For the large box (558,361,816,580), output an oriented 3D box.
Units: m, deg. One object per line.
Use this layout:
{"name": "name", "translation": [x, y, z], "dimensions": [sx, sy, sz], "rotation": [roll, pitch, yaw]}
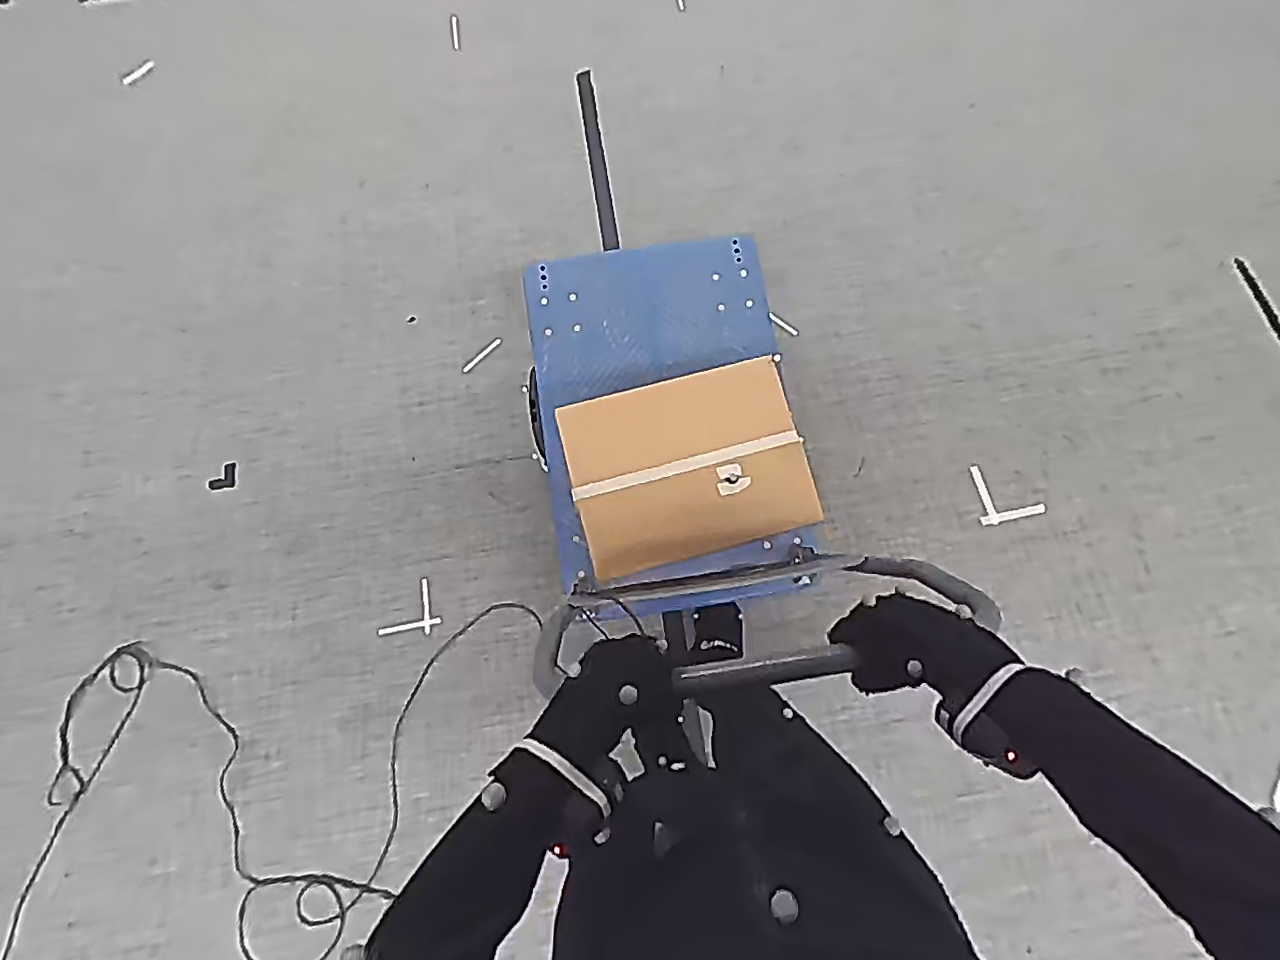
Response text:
{"name": "large box", "translation": [0.077, 0.002, 1.107], "dimensions": [0.408, 0.320, 0.320], "rotation": [-15, 81, -4]}
